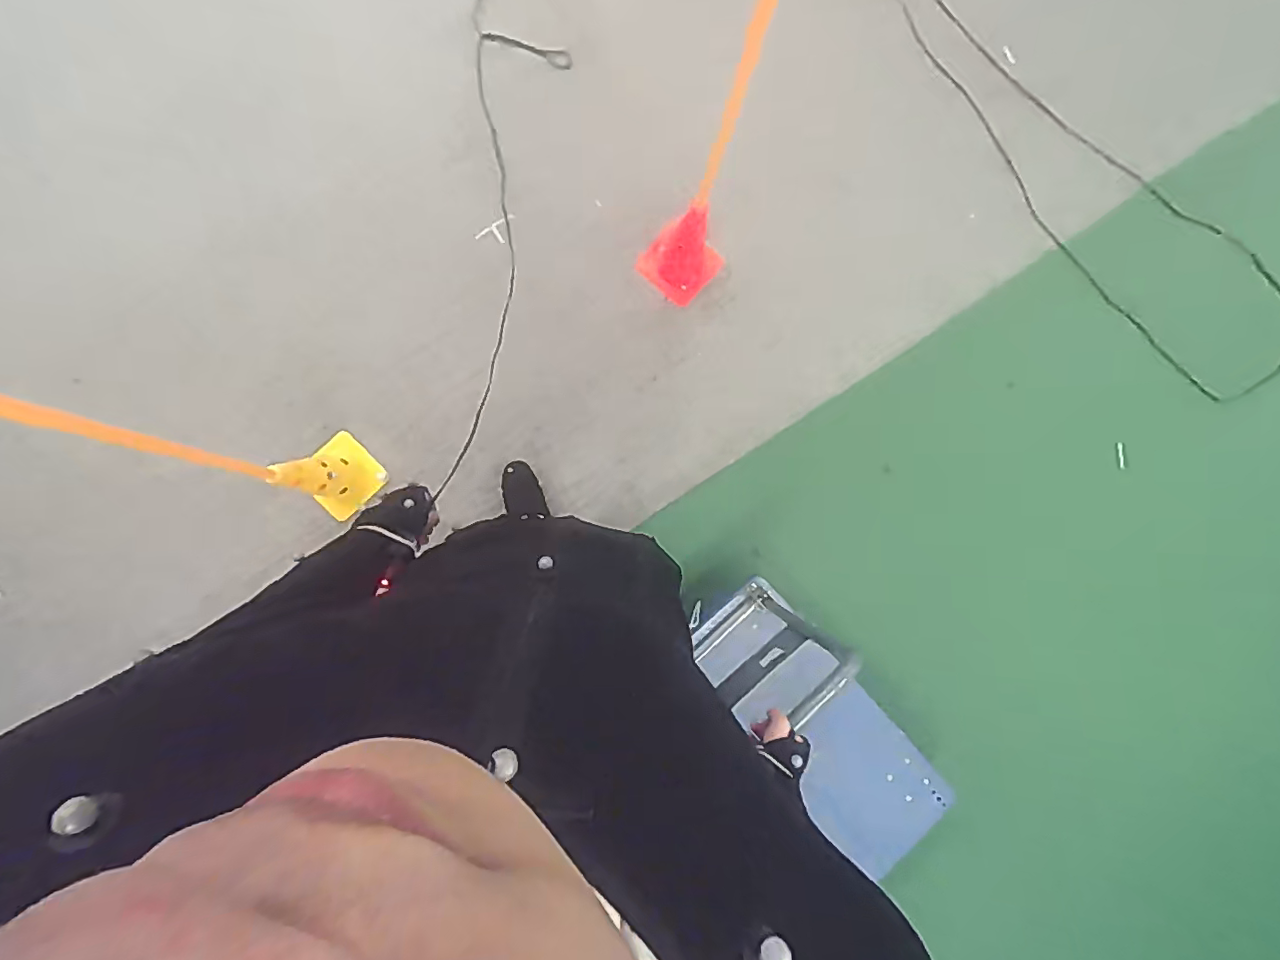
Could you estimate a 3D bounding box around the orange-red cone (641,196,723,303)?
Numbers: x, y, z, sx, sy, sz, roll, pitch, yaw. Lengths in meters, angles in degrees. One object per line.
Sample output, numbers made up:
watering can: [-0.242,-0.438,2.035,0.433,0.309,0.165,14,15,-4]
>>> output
orange-red cone: [0.143,-0.666,1.473,0.198,0.360,0.199,43,86,-4]
